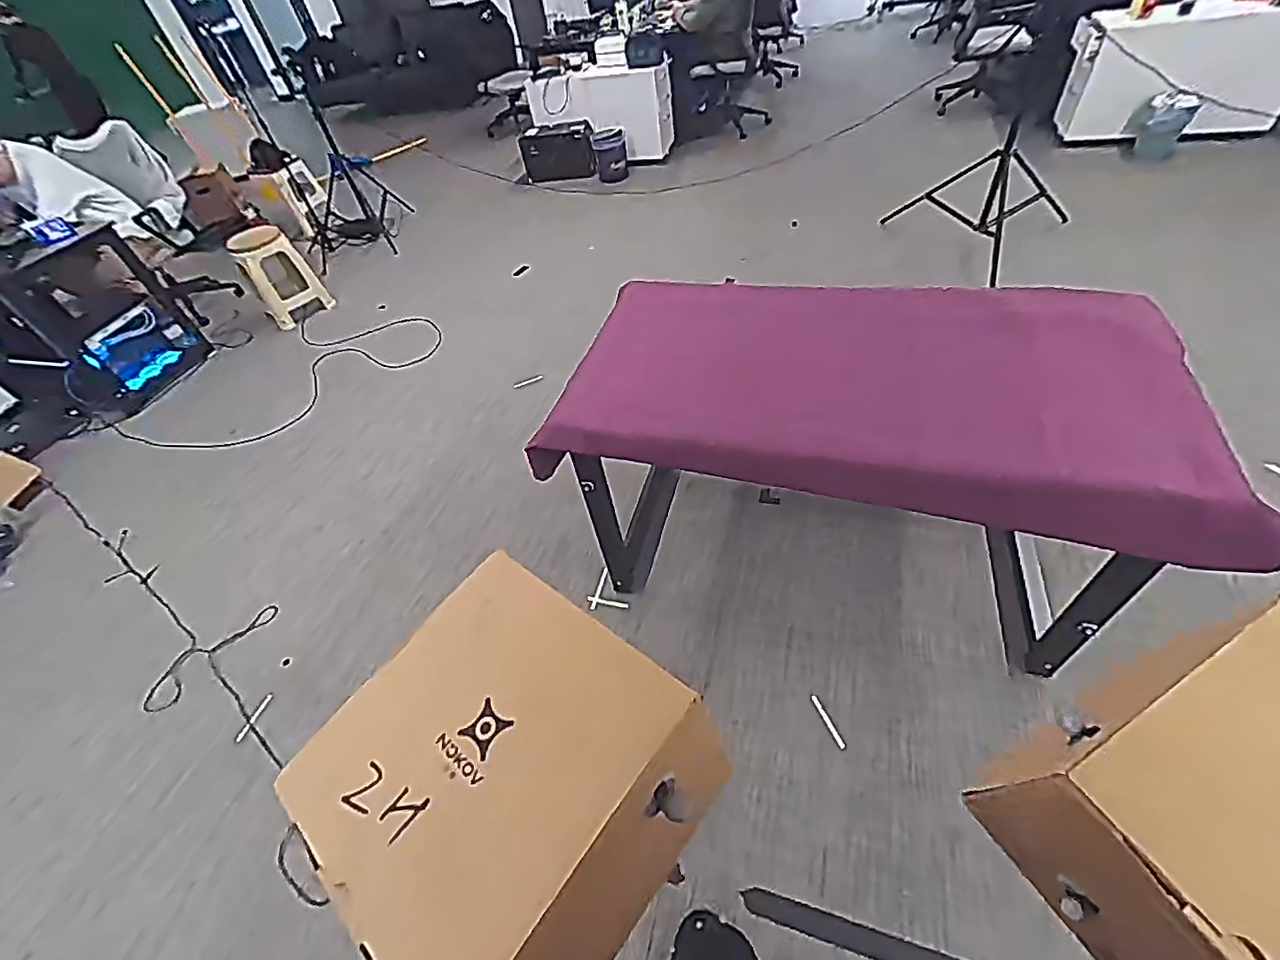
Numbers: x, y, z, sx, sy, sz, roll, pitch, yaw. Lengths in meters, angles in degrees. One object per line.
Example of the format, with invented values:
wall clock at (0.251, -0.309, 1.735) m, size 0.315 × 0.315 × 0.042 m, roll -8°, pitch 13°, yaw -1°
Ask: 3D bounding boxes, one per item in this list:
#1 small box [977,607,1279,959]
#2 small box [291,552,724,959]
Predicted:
small box at (0.341, 0.206, 0.311) m, size 0.179 × 0.176 × 0.168 m, roll -31°, pitch 57°, yaw -8°
small box at (-0.061, 0.185, 0.345) m, size 0.168 × 0.176 × 0.179 m, roll 27°, pitch 65°, yaw 33°
